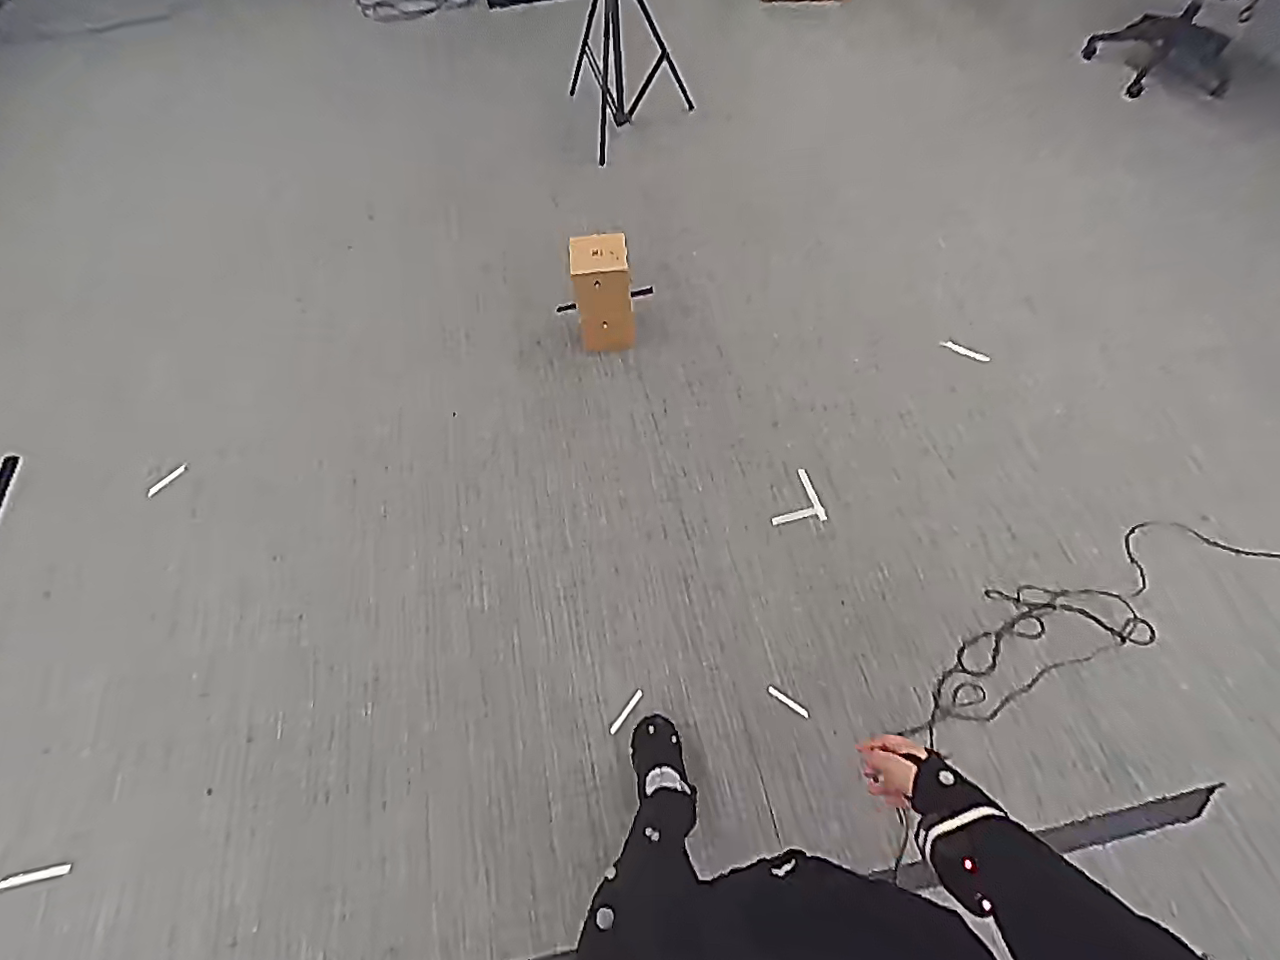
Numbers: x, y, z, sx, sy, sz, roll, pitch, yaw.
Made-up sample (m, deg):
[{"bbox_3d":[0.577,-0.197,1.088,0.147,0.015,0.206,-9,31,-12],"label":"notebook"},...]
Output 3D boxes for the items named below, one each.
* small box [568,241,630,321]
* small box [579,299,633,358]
[{"bbox_3d":[-0.127,-0.625,1.712,0.179,0.176,0.168,-5,62,0],"label":"small box"},{"bbox_3d":[-0.118,-0.540,1.854,0.179,0.176,0.168,-8,62,-1],"label":"small box"}]
